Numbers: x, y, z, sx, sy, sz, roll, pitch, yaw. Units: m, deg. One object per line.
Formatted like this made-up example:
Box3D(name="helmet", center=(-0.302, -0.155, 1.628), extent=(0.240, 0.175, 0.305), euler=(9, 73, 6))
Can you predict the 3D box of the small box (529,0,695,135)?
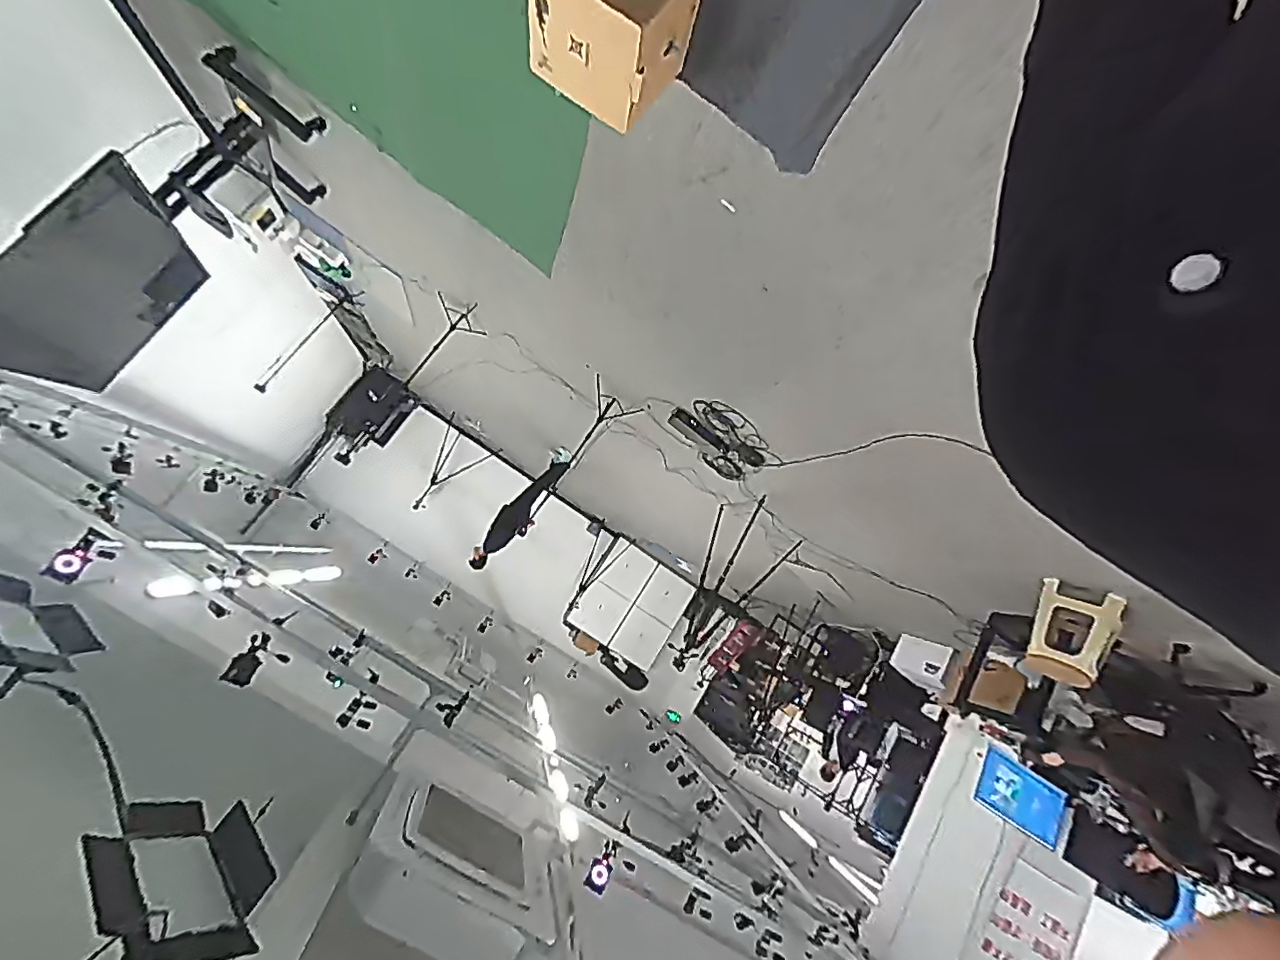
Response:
Box3D(name="small box", center=(-0.035, -0.647, 0.757), extent=(0.179, 0.176, 0.168), euler=(33, 165, -2))
